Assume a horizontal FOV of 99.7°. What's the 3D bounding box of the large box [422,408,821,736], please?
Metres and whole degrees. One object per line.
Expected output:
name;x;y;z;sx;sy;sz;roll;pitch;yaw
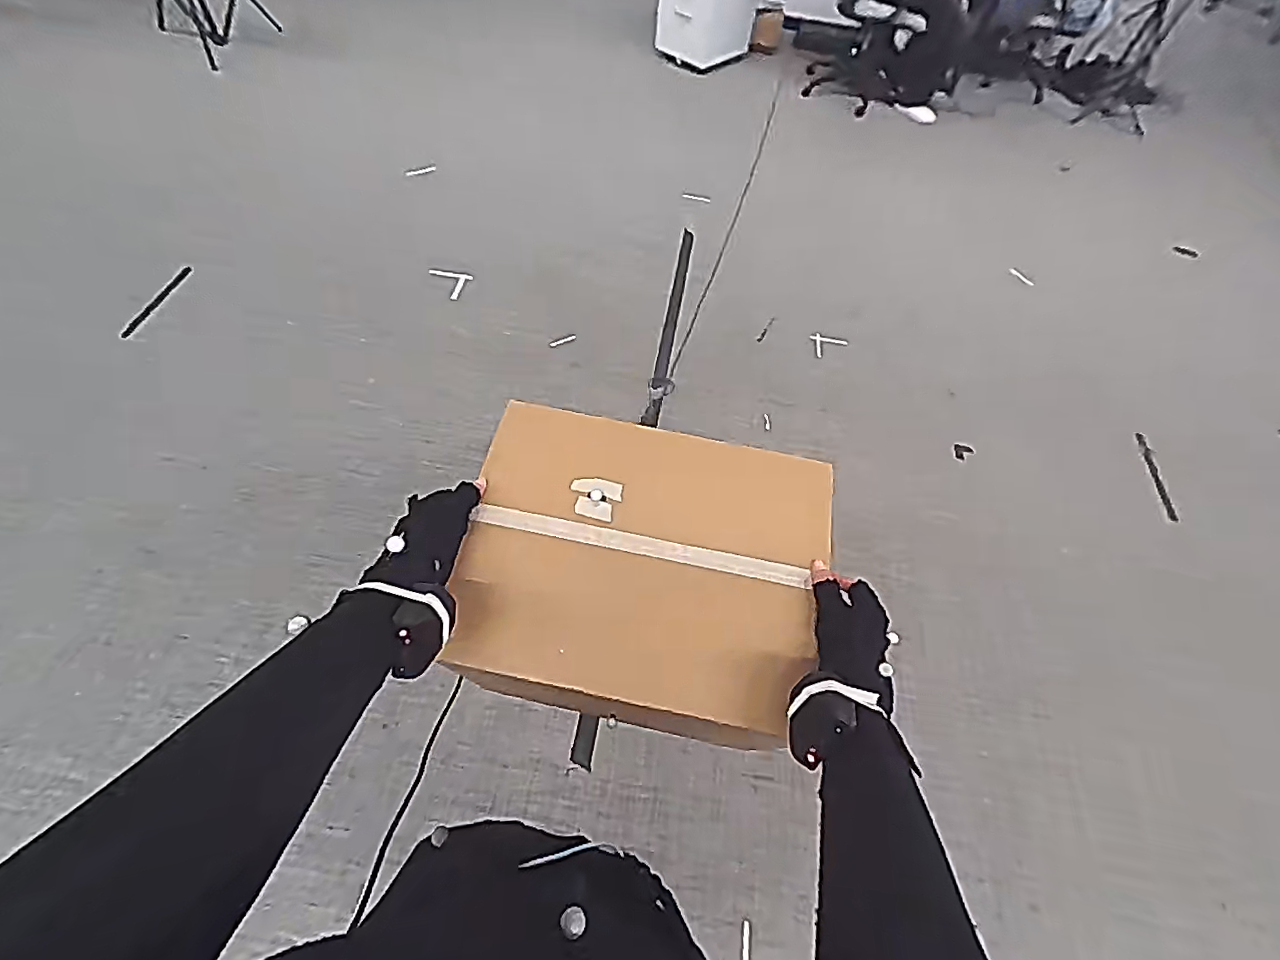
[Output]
large box;-0.002;0.143;0.735;0.408;0.320;0.320;11;62;4
